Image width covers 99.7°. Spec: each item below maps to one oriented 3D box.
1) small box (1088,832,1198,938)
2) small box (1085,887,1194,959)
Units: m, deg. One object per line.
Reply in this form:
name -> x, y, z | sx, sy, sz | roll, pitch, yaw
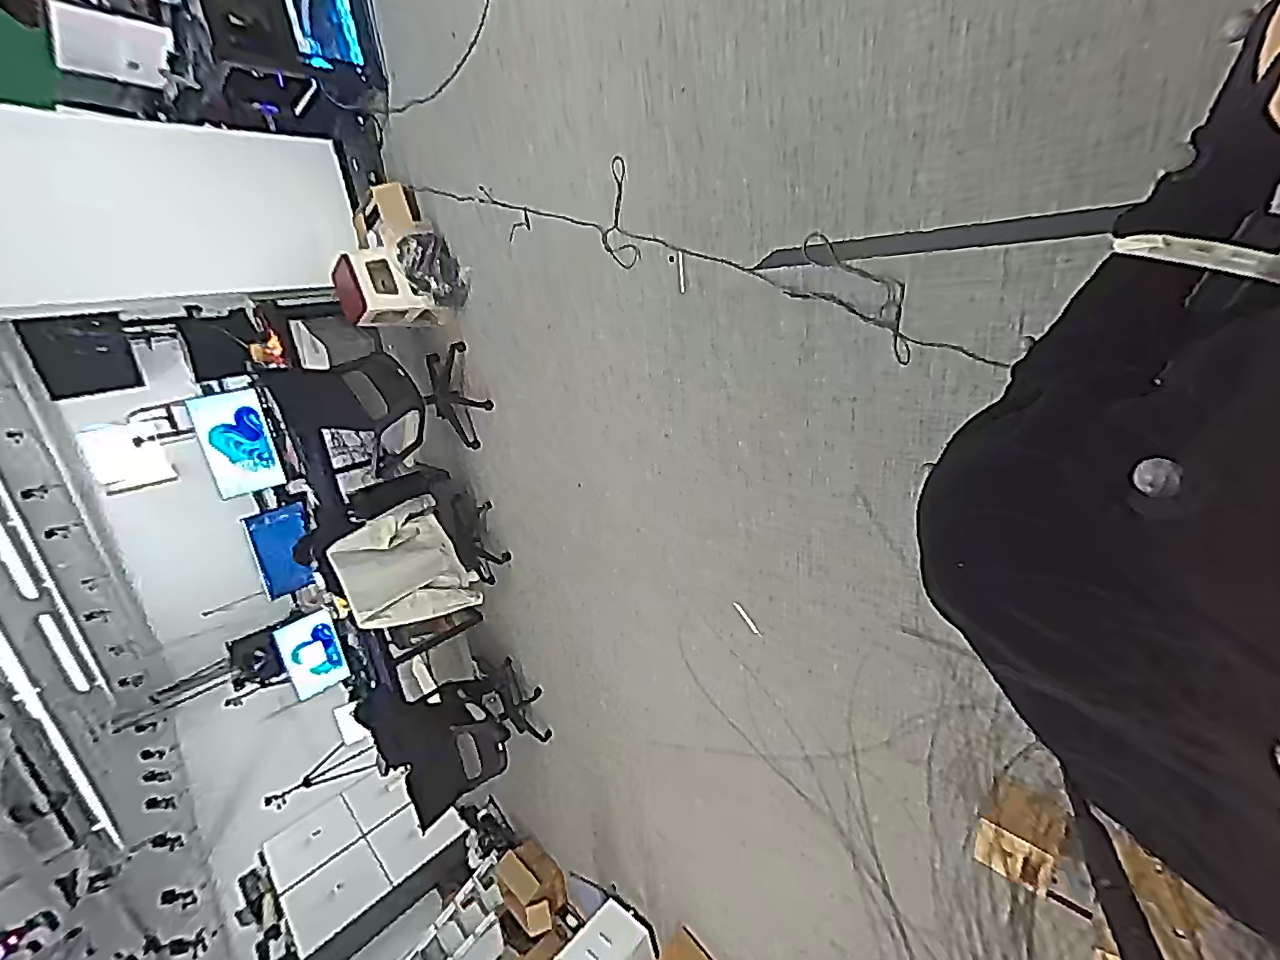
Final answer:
small box -> 1.252, 1.037, 1.345 | 0.168, 0.176, 0.179 | 16, 119, 42
small box -> 1.141, 1.099, 1.240 | 0.168, 0.176, 0.179 | 12, 118, 44
